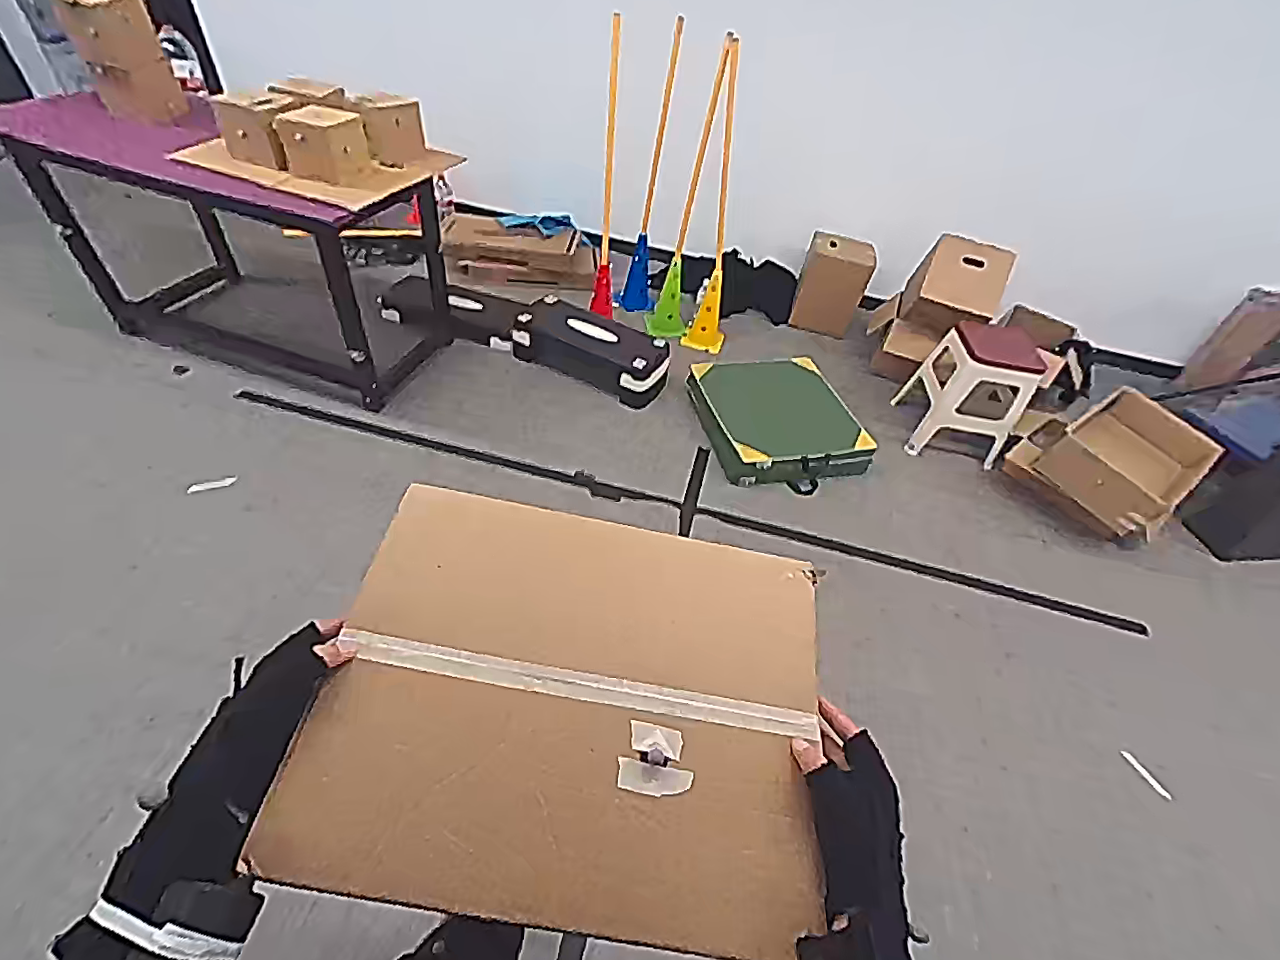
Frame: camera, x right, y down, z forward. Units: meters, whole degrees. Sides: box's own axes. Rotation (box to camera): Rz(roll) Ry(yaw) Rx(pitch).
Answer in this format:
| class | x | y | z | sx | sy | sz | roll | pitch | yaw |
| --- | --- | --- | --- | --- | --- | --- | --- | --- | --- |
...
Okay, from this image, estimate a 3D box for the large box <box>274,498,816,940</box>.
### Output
| class | x | y | z | sx | sy | sz | roll | pitch | yaw |
| --- | --- | --- | --- | --- | --- | --- | --- | --- | --- |
| large box | -0.069 | 0.258 | 0.593 | 0.408 | 0.320 | 0.320 | 12 | 57 | -3 |
